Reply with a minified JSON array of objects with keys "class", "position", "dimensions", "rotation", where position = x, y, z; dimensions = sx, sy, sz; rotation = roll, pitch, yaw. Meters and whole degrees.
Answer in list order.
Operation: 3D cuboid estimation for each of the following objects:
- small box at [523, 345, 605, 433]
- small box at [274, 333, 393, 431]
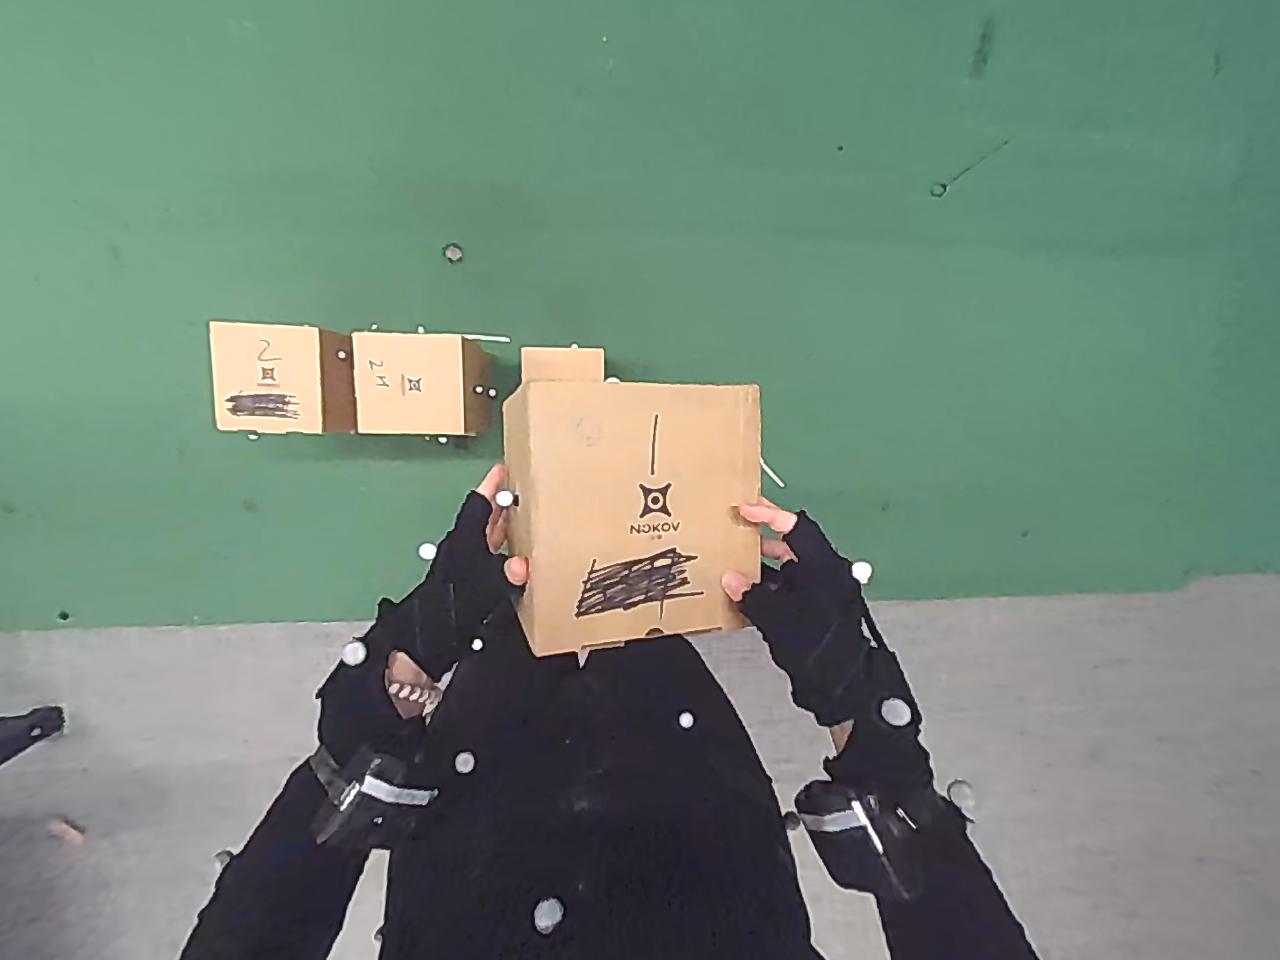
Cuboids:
[{"class":"small box","position":[-0.162,-0.194,1.166],"dimensions":[0.168,0.176,0.179],"rotation":[-1,100,-5]},{"class":"small box","position":[-0.625,-0.202,1.122],"dimensions":[0.168,0.176,0.179],"rotation":[4,99,-6]}]
